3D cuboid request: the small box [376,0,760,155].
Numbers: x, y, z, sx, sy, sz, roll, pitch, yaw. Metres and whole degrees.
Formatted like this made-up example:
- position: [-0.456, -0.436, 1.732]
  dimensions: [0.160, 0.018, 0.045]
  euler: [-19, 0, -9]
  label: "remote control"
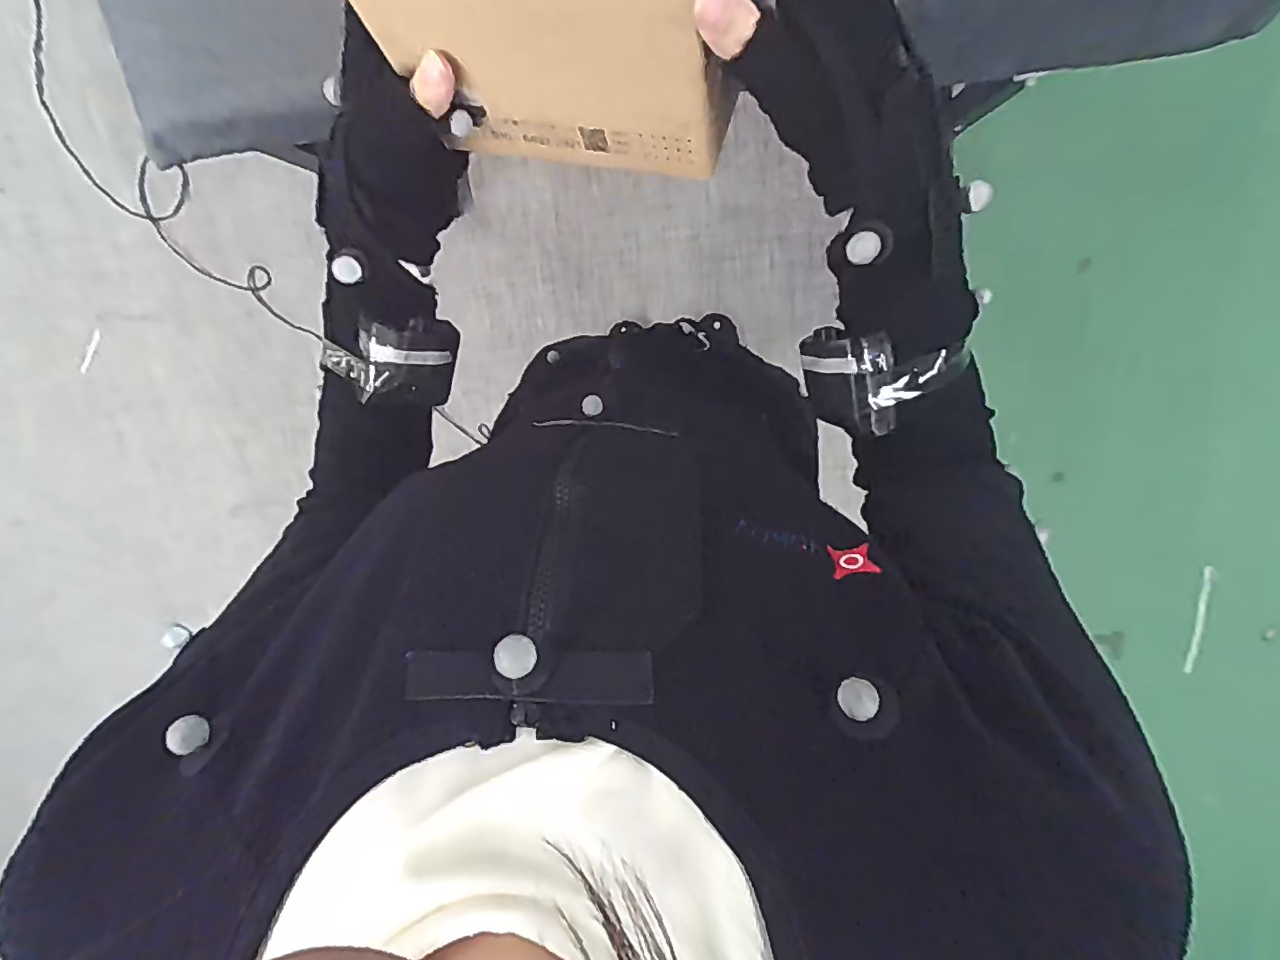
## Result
- position: [-0.029, -0.284, 0.240]
  dimensions: [0.168, 0.176, 0.179]
  euler: [15, 80, 13]
  label: "small box"
